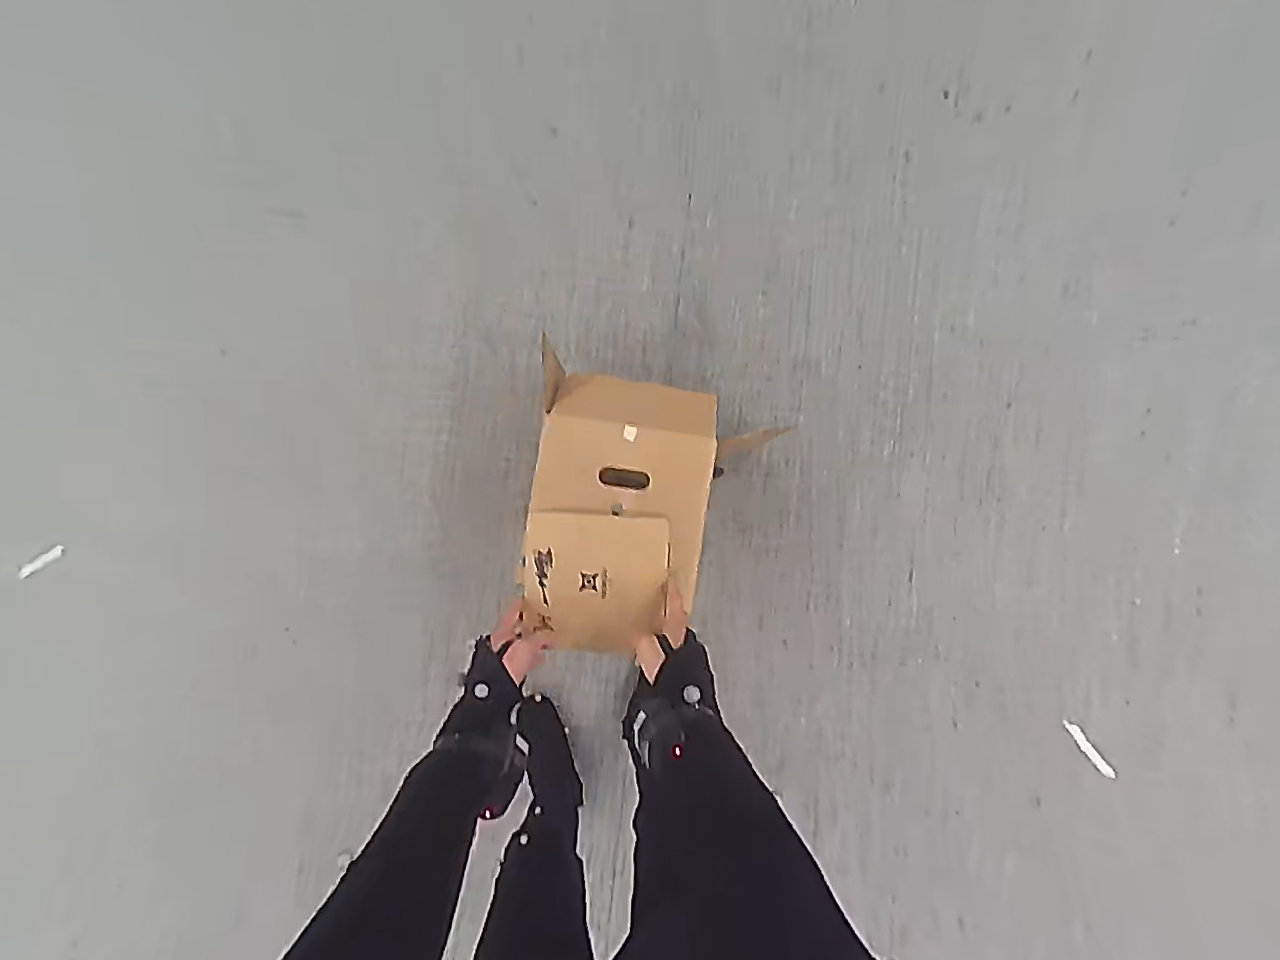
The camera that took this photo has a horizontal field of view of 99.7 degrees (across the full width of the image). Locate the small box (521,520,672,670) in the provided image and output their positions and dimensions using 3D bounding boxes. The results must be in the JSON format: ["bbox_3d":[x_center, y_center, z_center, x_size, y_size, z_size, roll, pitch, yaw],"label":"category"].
[{"bbox_3d":[-0.052,0.144,0.733,0.179,0.176,0.168,3,89,2],"label":"small box"}]
